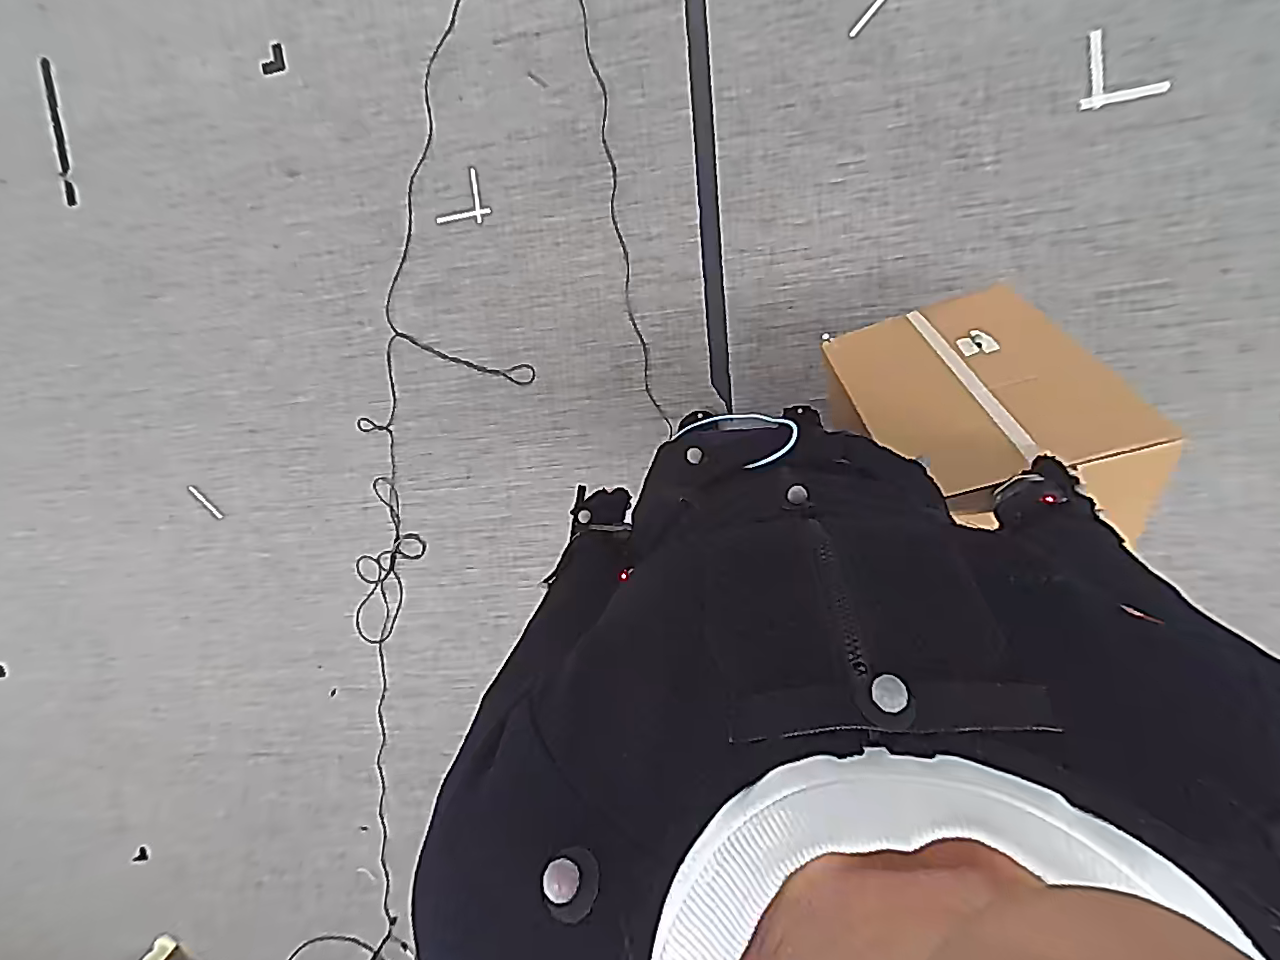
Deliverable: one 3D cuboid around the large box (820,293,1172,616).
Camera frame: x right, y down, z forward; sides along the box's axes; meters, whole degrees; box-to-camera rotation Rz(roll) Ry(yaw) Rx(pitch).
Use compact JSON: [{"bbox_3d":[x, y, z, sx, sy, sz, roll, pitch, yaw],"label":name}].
[{"bbox_3d":[0.534,-0.046,0.914,0.320,0.408,0.320,-16,133,10],"label":"large box"}]
